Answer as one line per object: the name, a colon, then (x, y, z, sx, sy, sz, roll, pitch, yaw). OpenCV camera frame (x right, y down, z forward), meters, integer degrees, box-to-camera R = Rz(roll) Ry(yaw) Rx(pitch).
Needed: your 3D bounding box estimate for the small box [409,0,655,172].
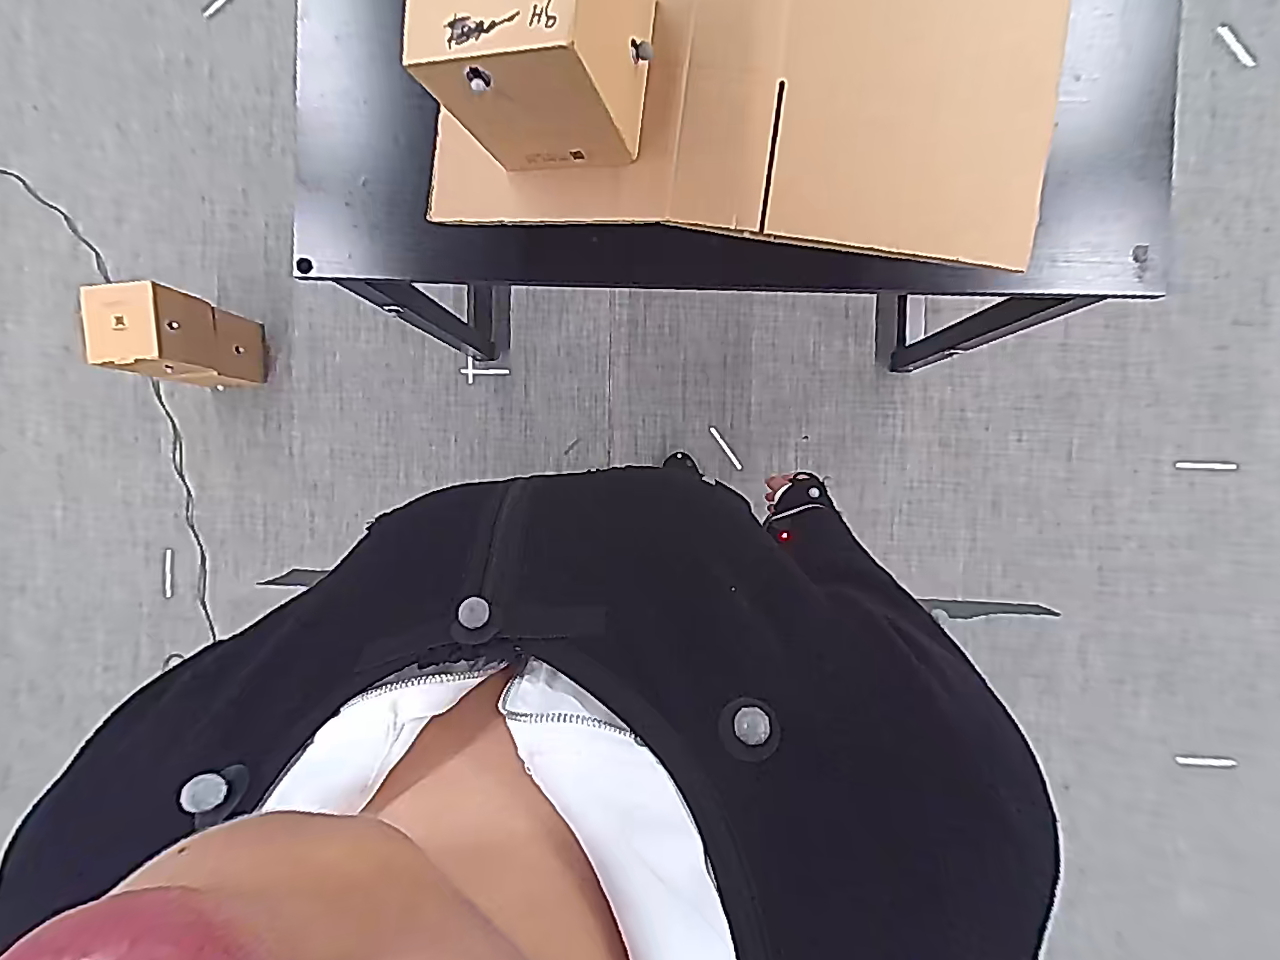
small box: (-0.090, -0.433, 0.524, 0.168, 0.176, 0.179, 7, 91, 18)

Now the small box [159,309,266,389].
small box: (-1.138, -0.345, 1.446, 0.168, 0.176, 0.179, -2, 92, 2)

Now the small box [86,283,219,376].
small box: (-1.146, -0.348, 1.284, 0.168, 0.176, 0.179, -5, 90, 1)
